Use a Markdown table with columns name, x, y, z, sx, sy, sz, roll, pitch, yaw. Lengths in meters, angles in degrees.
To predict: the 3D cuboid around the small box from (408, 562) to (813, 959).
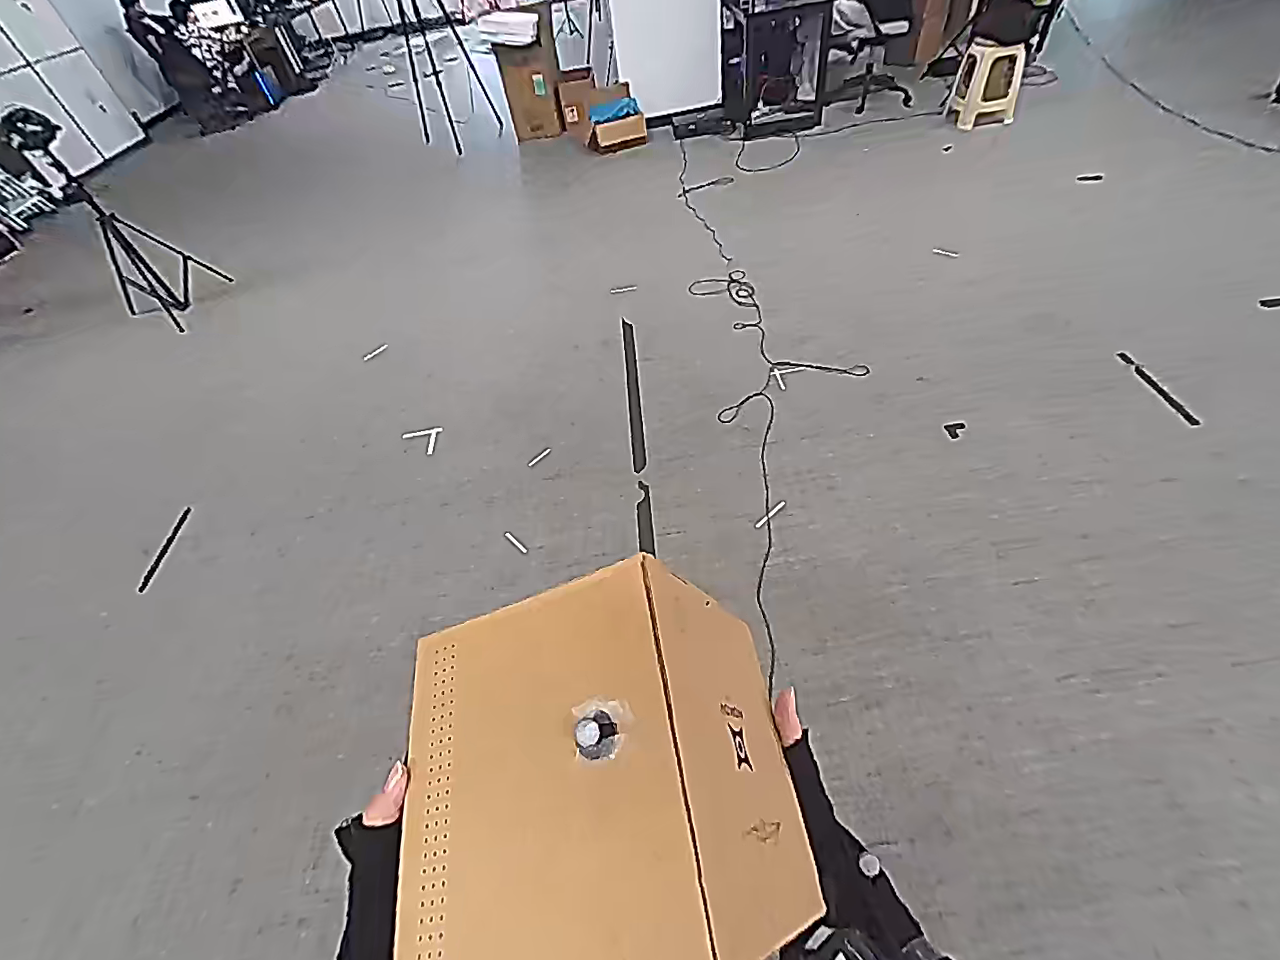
| name | x | y | z | sx | sy | sz | roll | pitch | yaw |
| --- | --- | --- | --- | --- | --- | --- | --- | --- | --- |
| small box | -0.018 | 0.181 | 0.337 | 0.176 | 0.168 | 0.179 | -24 | 53 | 19 |
